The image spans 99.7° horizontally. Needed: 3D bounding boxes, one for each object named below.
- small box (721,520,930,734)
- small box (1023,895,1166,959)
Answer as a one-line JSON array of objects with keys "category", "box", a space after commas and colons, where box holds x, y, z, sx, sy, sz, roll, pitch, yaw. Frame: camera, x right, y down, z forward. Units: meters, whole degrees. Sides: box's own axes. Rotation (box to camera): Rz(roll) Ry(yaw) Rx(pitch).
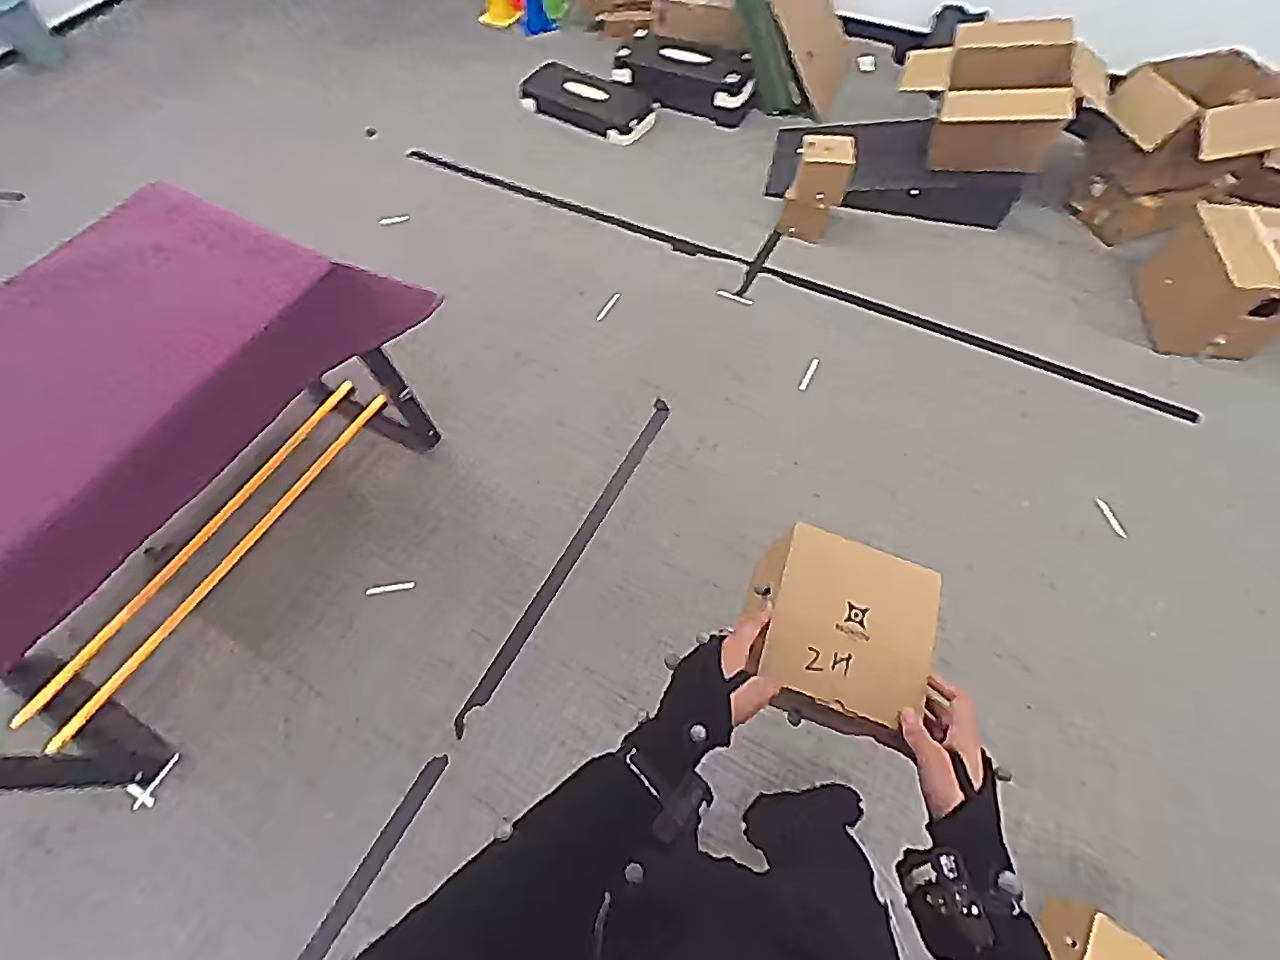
[{"category": "small box", "box": [0.204, 0.175, 0.630, 0.168, 0.176, 0.179, 19, 67, 4]}, {"category": "small box", "box": [0.945, 1.019, 1.127, 0.168, 0.176, 0.179, 32, 67, 17]}]
